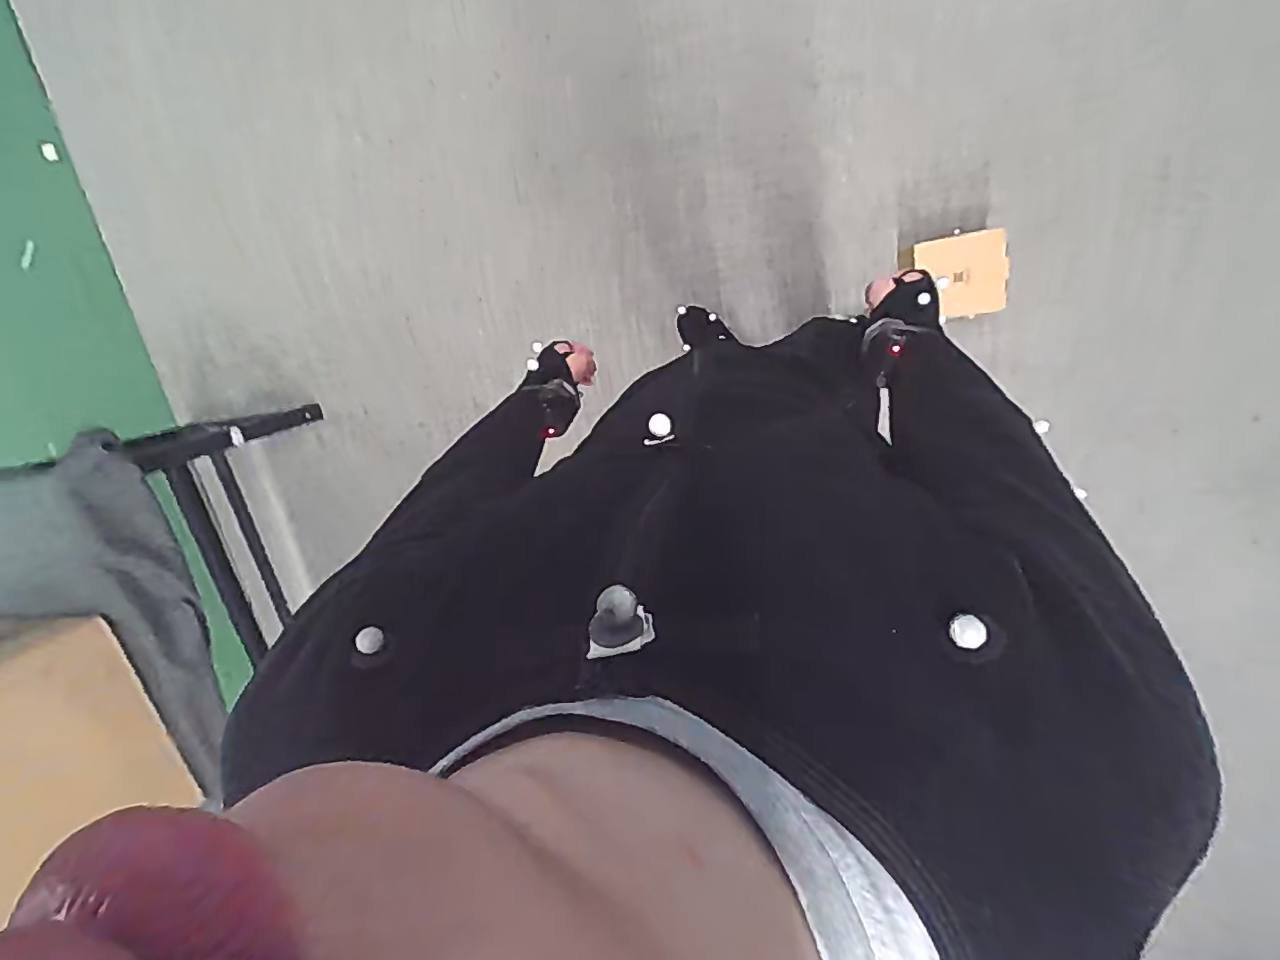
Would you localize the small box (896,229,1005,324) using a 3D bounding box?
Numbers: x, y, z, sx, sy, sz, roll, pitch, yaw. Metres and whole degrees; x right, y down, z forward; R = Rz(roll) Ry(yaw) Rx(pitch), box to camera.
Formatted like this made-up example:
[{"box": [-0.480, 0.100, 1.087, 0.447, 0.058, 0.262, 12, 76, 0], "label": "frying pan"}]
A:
[{"box": [0.691, -0.455, 1.218, 0.179, 0.176, 0.168, -6, 107, 16], "label": "small box"}]
